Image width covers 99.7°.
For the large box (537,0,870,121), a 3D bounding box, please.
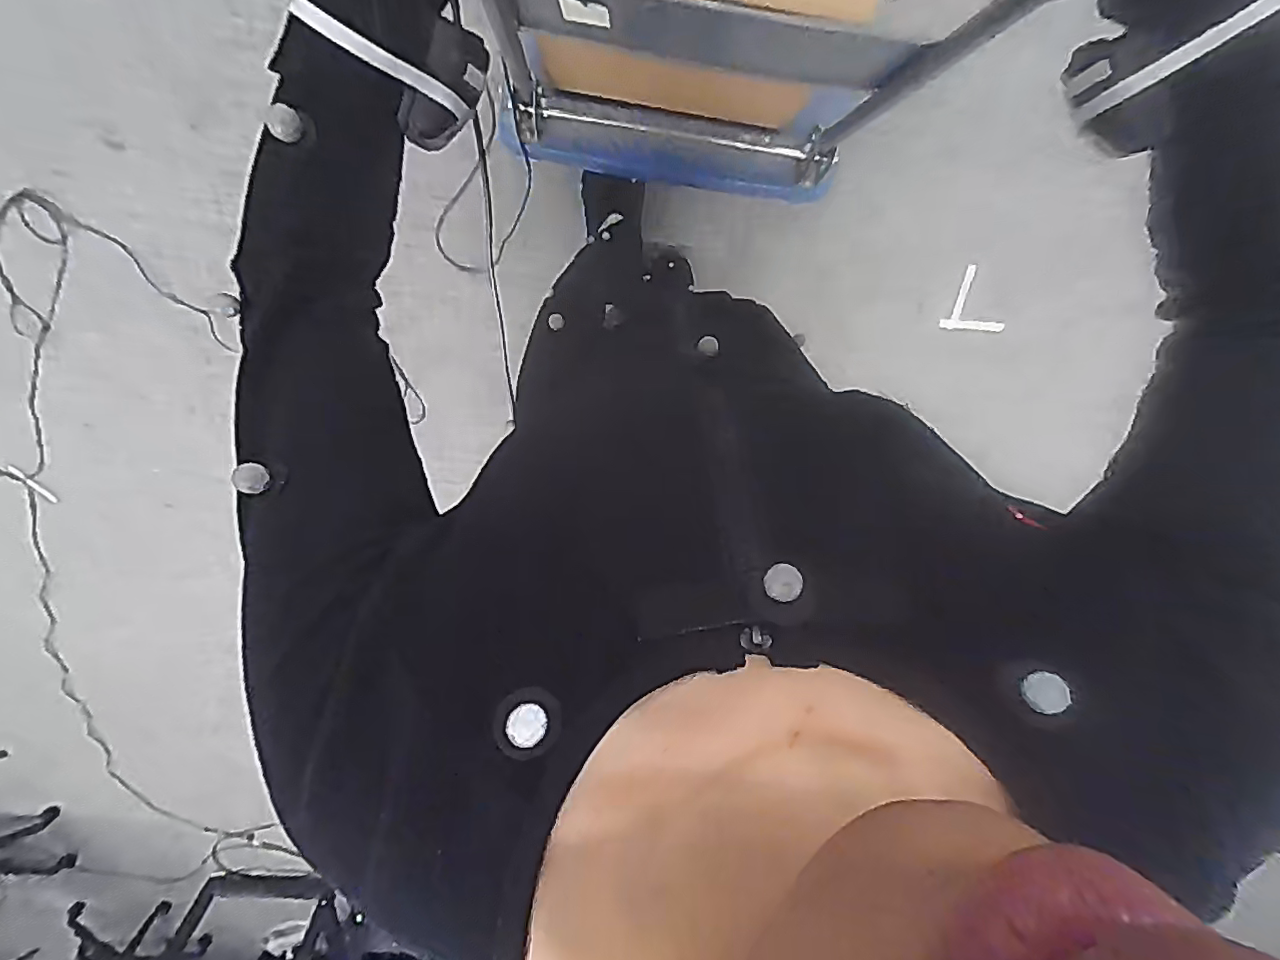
[{"bbox_3d":[0.074,-0.741,0.729,0.408,0.320,0.320,6,104,-7],"label":"large box"}]
